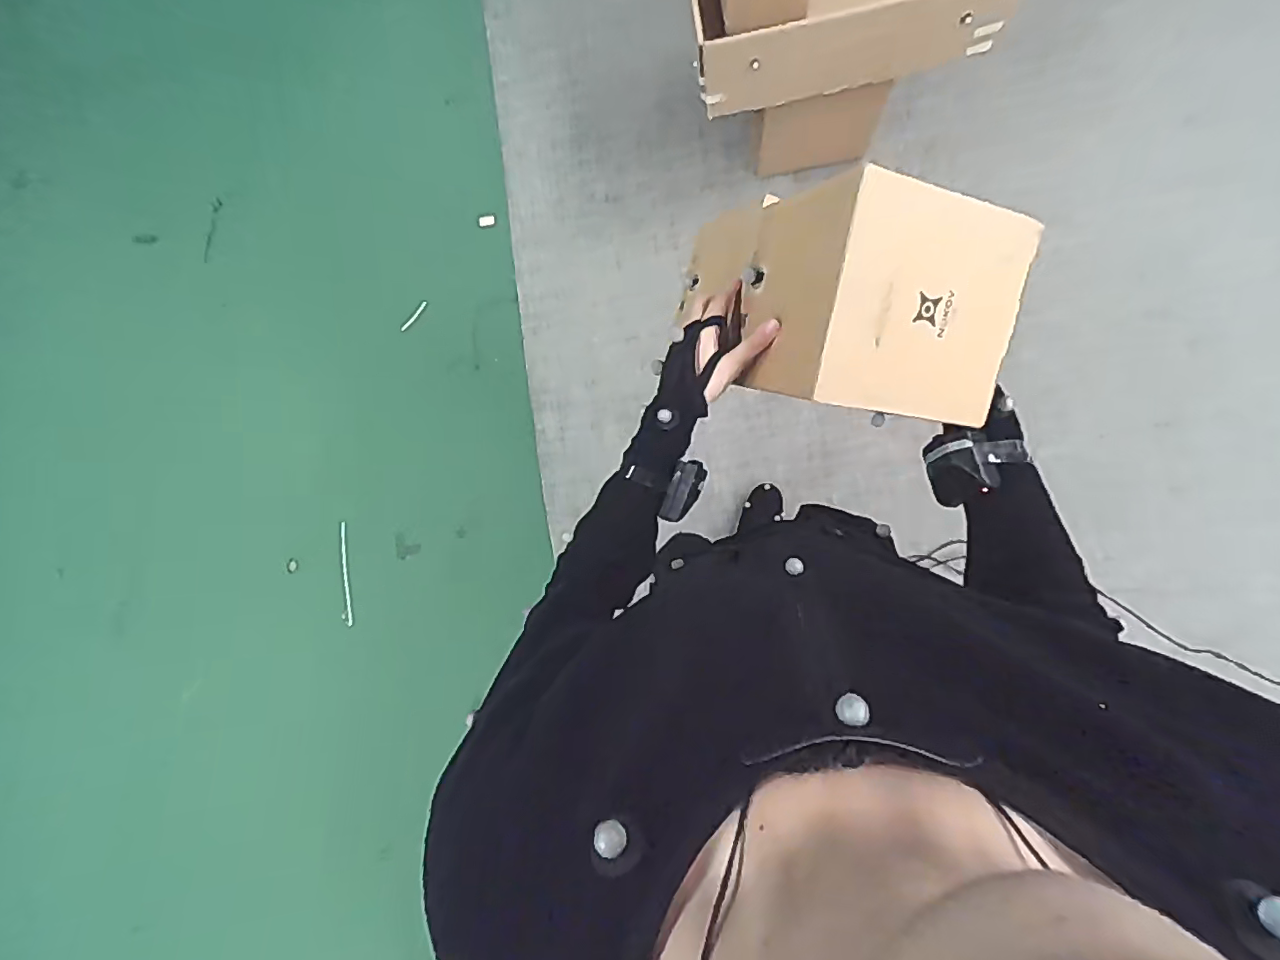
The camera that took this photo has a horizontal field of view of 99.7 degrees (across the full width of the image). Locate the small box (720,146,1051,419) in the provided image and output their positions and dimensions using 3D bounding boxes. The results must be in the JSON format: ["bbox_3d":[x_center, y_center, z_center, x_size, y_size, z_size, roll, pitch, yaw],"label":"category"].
[{"bbox_3d":[0.195,-0.157,0.474,0.179,0.176,0.168,6,102,-18],"label":"small box"}]
